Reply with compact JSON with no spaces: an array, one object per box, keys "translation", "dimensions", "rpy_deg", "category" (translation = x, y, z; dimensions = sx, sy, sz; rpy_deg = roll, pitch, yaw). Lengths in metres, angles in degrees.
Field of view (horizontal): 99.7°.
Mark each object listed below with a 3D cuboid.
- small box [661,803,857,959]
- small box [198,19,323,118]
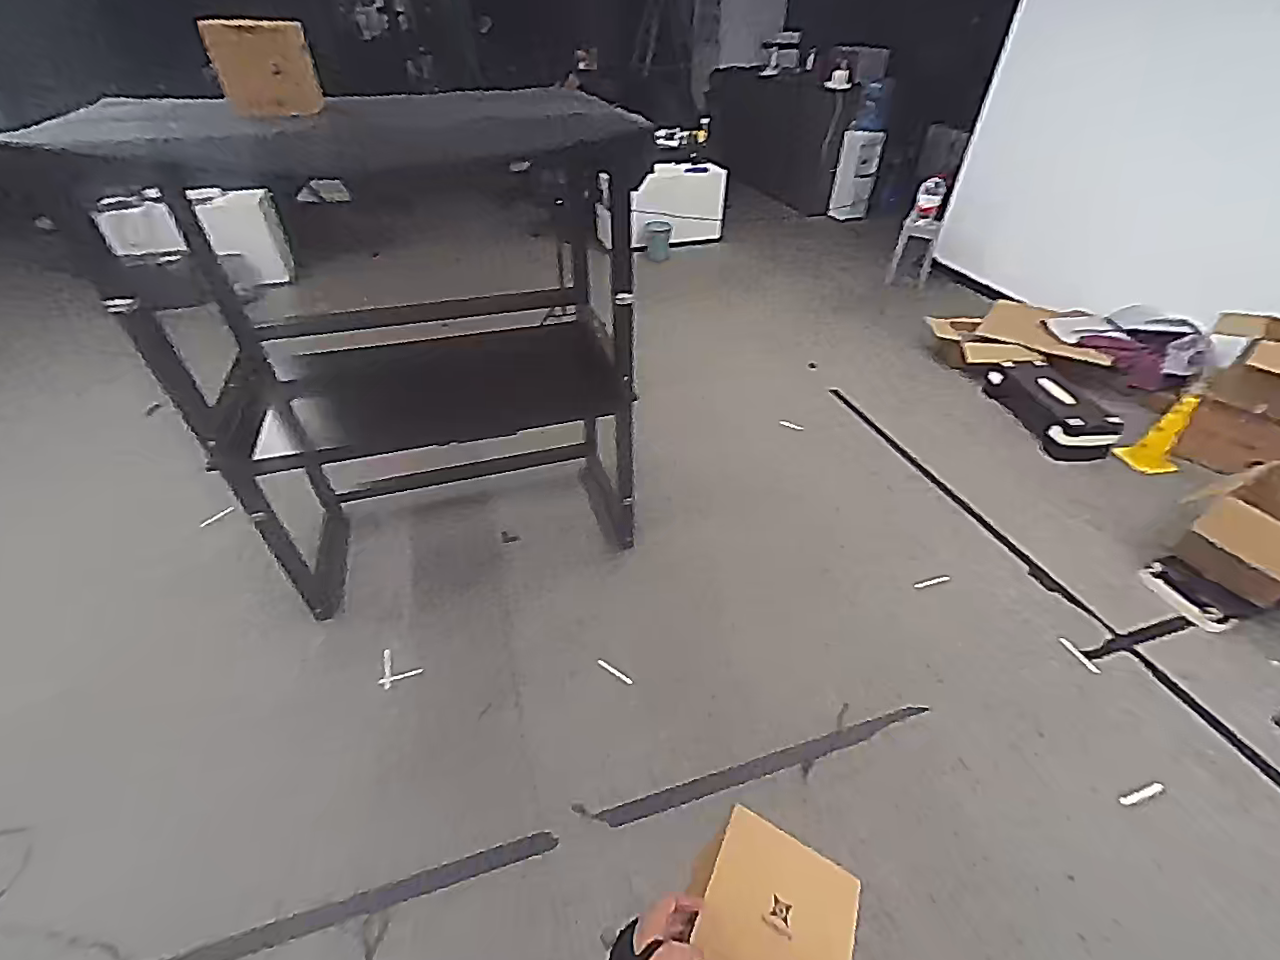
[{"translation":[0.135,0.542,0.643],"dimensions":[0.168,0.176,0.179],"rpy_deg":[25,37,14],"category":"small box"},{"translation":[-0.851,-0.939,1.235],"dimensions":[0.168,0.176,0.179],"rpy_deg":[-9,43,-12],"category":"small box"}]
